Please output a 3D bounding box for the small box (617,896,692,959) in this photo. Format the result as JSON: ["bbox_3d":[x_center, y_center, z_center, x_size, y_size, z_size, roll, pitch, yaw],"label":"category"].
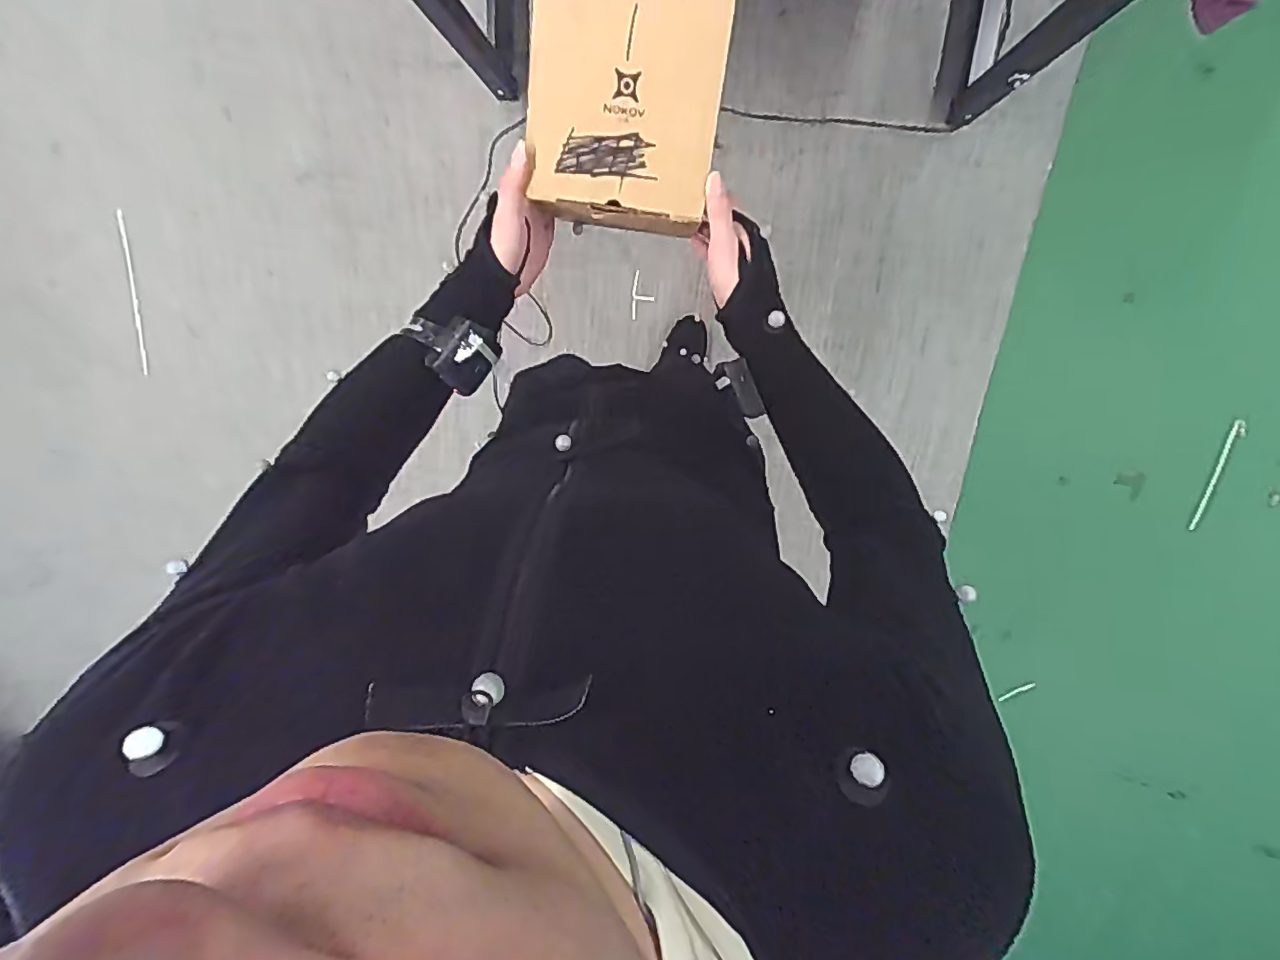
[{"bbox_3d":[0.030,1.127,1.259,0.168,0.176,0.179,8,106,3],"label":"small box"}]

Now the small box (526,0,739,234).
[{"bbox_3d":[-0.009,-0.349,0.530,0.168,0.176,0.179,7,108,-2],"label":"small box"}]
